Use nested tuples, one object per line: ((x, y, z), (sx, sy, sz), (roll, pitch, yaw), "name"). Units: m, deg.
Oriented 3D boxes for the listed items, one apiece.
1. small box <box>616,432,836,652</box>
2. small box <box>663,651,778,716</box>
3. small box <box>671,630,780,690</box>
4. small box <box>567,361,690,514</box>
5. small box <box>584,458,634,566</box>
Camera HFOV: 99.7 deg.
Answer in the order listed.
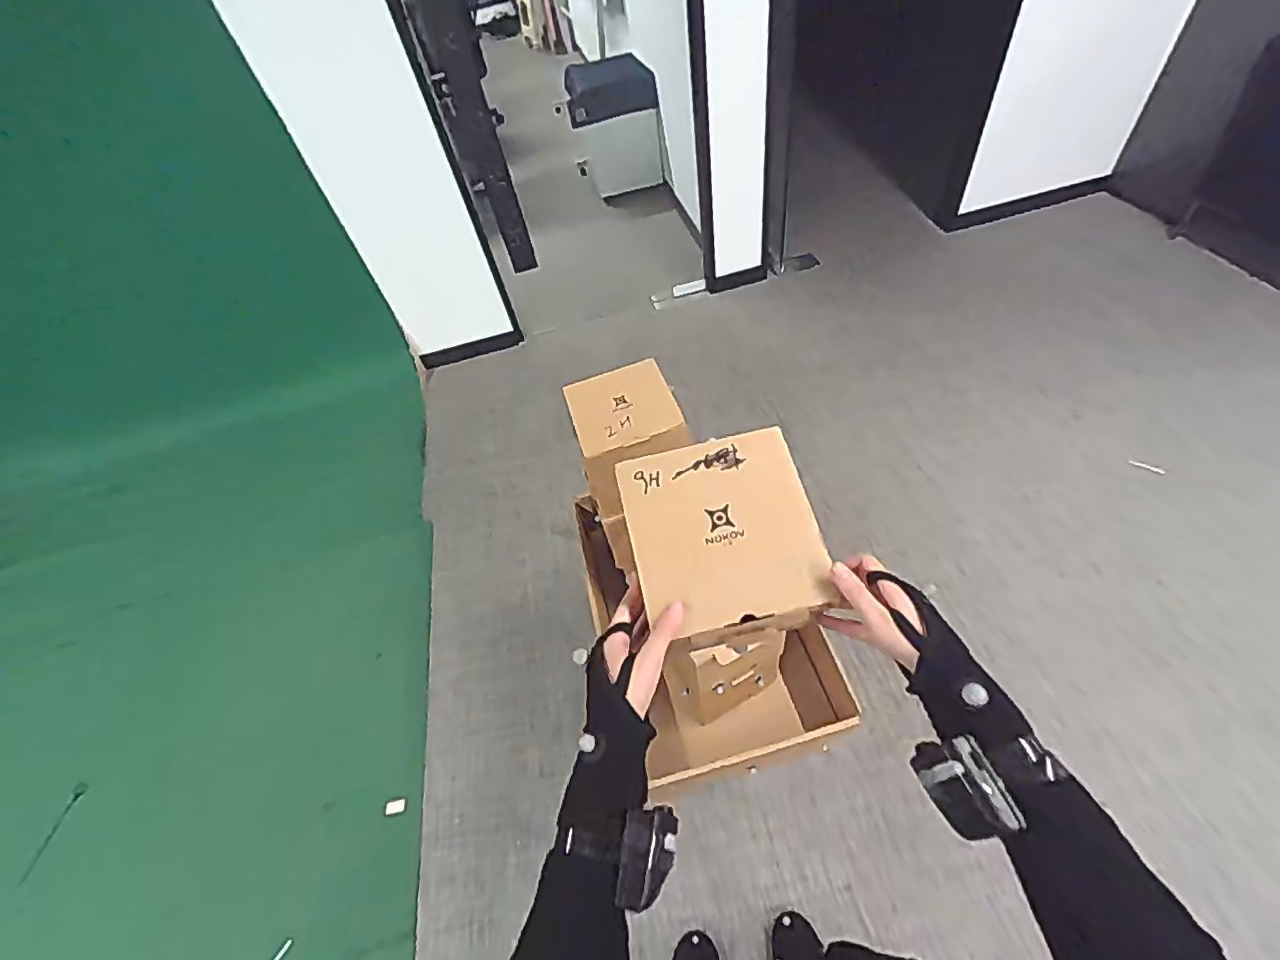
((0.078, 0.076, 0.563), (0.168, 0.176, 0.179), (-13, 69, -1), "small box")
((0.142, 0.323, 1.024), (0.168, 0.176, 0.179), (-26, 51, -11), "small box")
((0.121, 0.223, 0.896), (0.168, 0.176, 0.179), (-26, 51, -11), "small box")
((-0.015, -0.071, 0.941), (0.168, 0.176, 0.179), (-19, 52, -2), "small box")
((0.007, 0.040, 1.062), (0.179, 0.176, 0.168), (-20, 51, -4), "small box")
